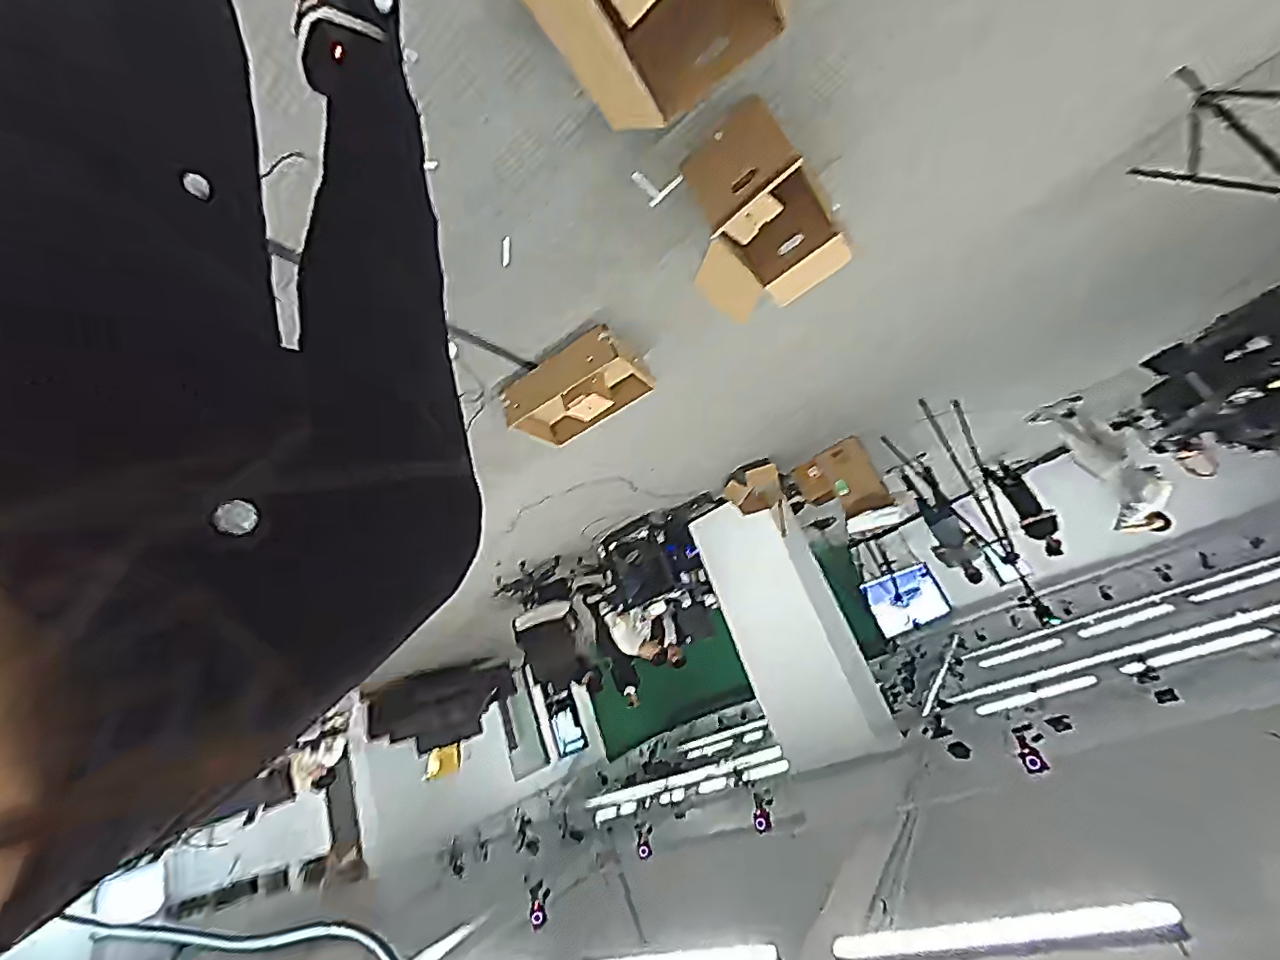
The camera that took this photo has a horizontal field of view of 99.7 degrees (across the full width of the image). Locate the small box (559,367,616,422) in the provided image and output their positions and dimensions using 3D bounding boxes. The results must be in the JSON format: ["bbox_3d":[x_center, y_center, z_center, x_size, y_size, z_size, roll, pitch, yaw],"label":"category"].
[{"bbox_3d":[-0.245,-0.394,2.471,0.168,0.176,0.179,-30,158,25],"label":"small box"}]
